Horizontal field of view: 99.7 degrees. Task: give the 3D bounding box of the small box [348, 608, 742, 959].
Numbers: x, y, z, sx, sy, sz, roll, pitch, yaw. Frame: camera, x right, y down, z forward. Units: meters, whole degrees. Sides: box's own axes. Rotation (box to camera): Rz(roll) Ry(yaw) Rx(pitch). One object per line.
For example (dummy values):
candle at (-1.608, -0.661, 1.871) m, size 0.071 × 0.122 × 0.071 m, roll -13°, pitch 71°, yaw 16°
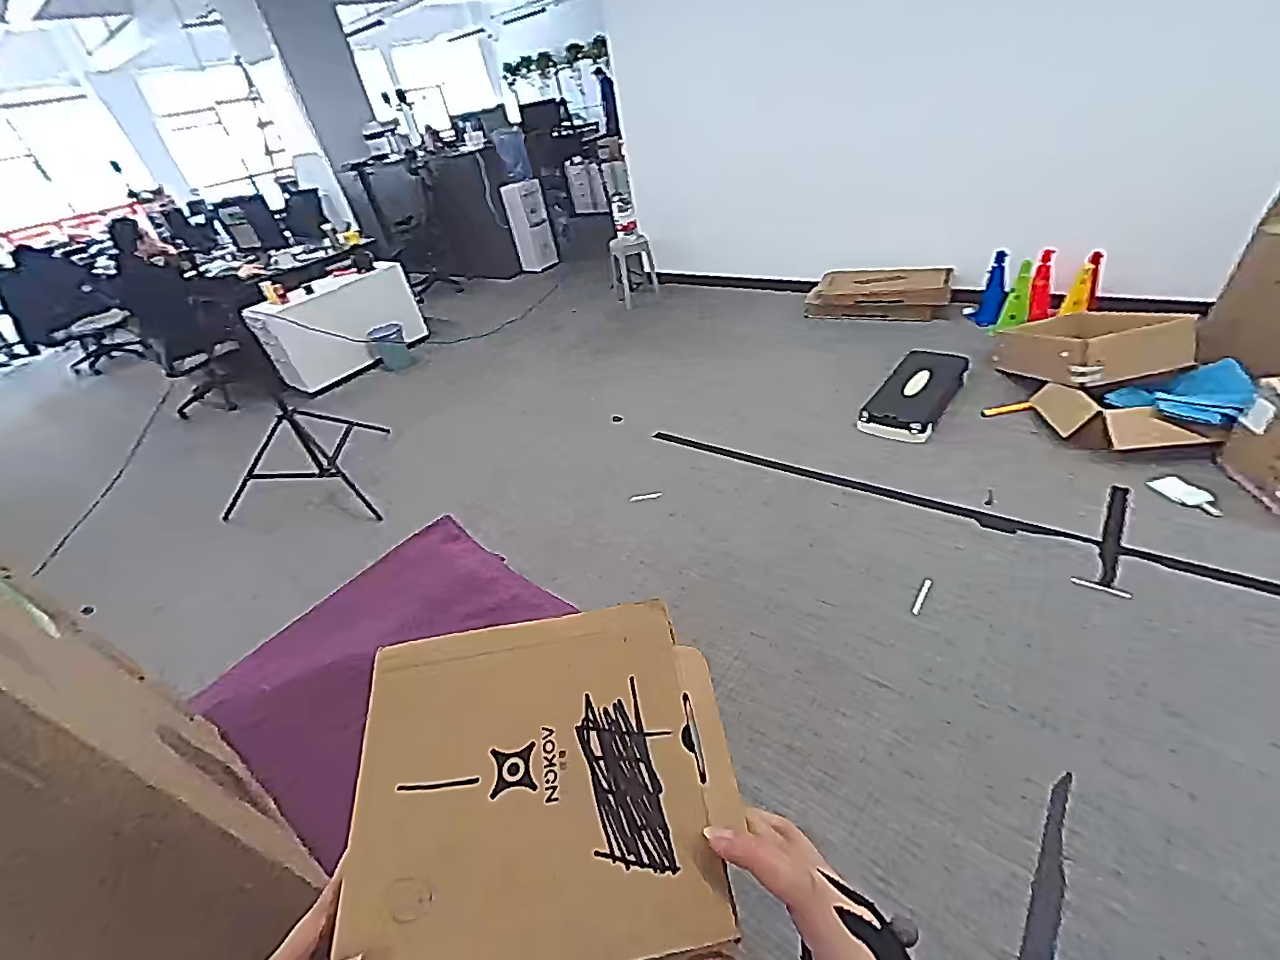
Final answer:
small box at (-0.050, 0.204, 0.342) m, size 0.179 × 0.176 × 0.168 m, roll -9°, pitch 49°, yaw -4°
